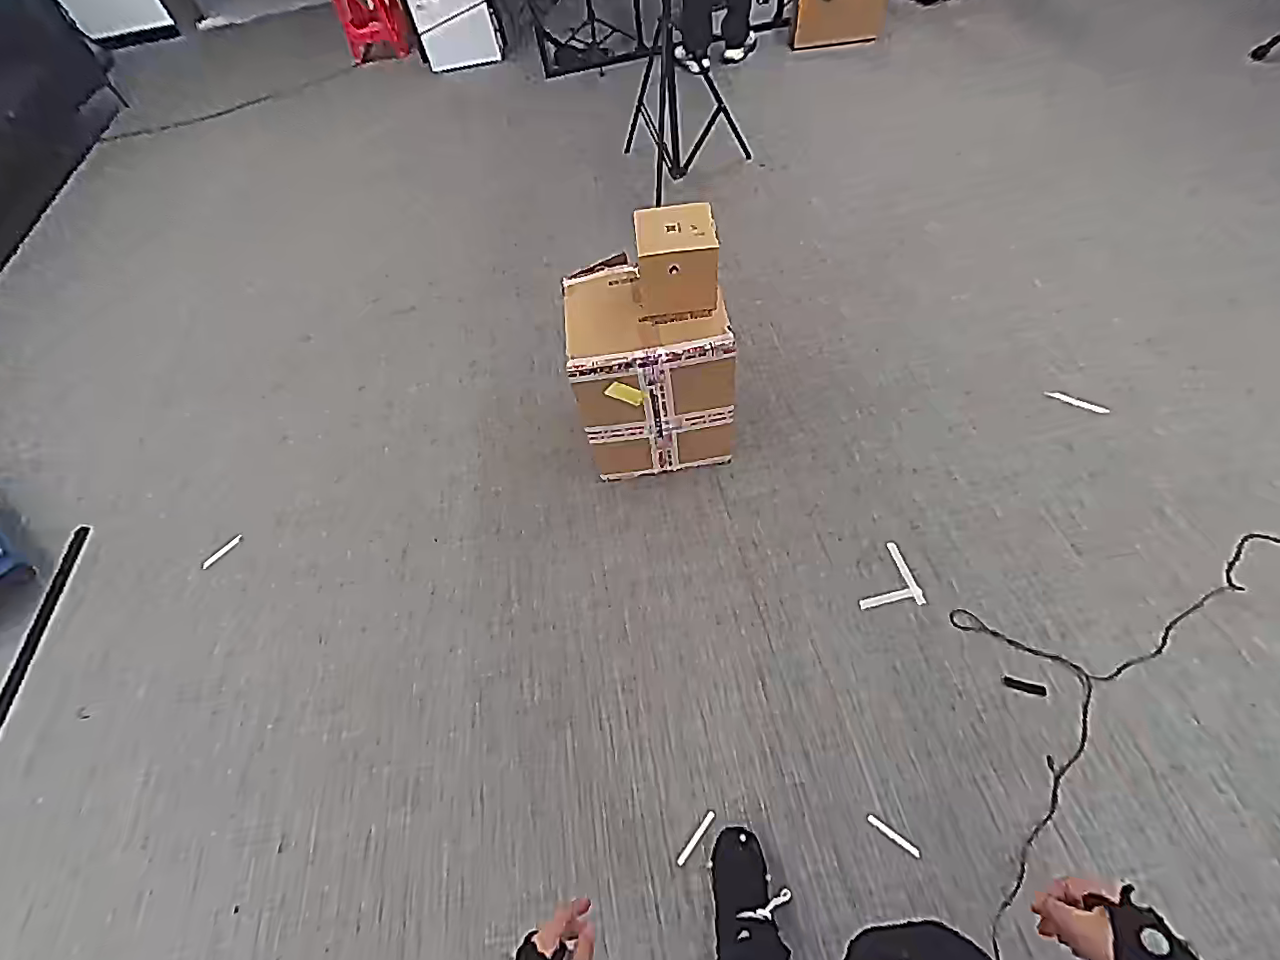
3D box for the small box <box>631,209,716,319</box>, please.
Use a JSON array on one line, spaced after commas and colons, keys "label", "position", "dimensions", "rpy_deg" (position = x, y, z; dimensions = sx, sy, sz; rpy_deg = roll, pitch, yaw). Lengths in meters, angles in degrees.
[{"label": "small box", "position": [0.079, -0.492, 1.249], "dimensions": [0.179, 0.176, 0.168], "rpy_deg": [-6, 59, 2]}]
